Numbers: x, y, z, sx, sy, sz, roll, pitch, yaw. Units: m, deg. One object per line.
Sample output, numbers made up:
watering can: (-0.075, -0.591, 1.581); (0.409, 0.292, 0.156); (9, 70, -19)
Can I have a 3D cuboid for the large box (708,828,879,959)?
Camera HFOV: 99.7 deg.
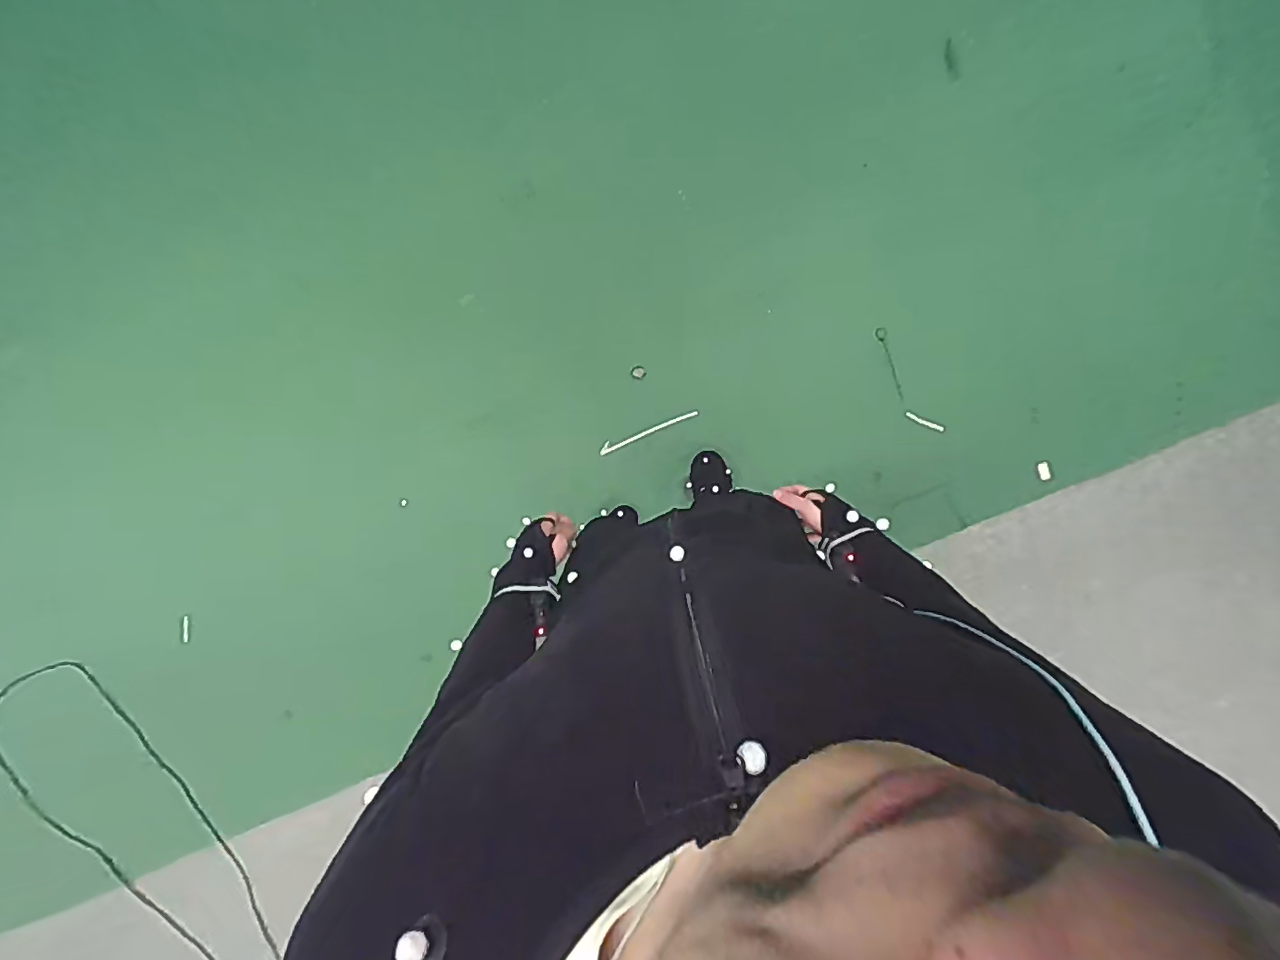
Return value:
large box: (0.417, 1.242, 1.528); (0.408, 0.320, 0.320); (-5, 92, 2)
